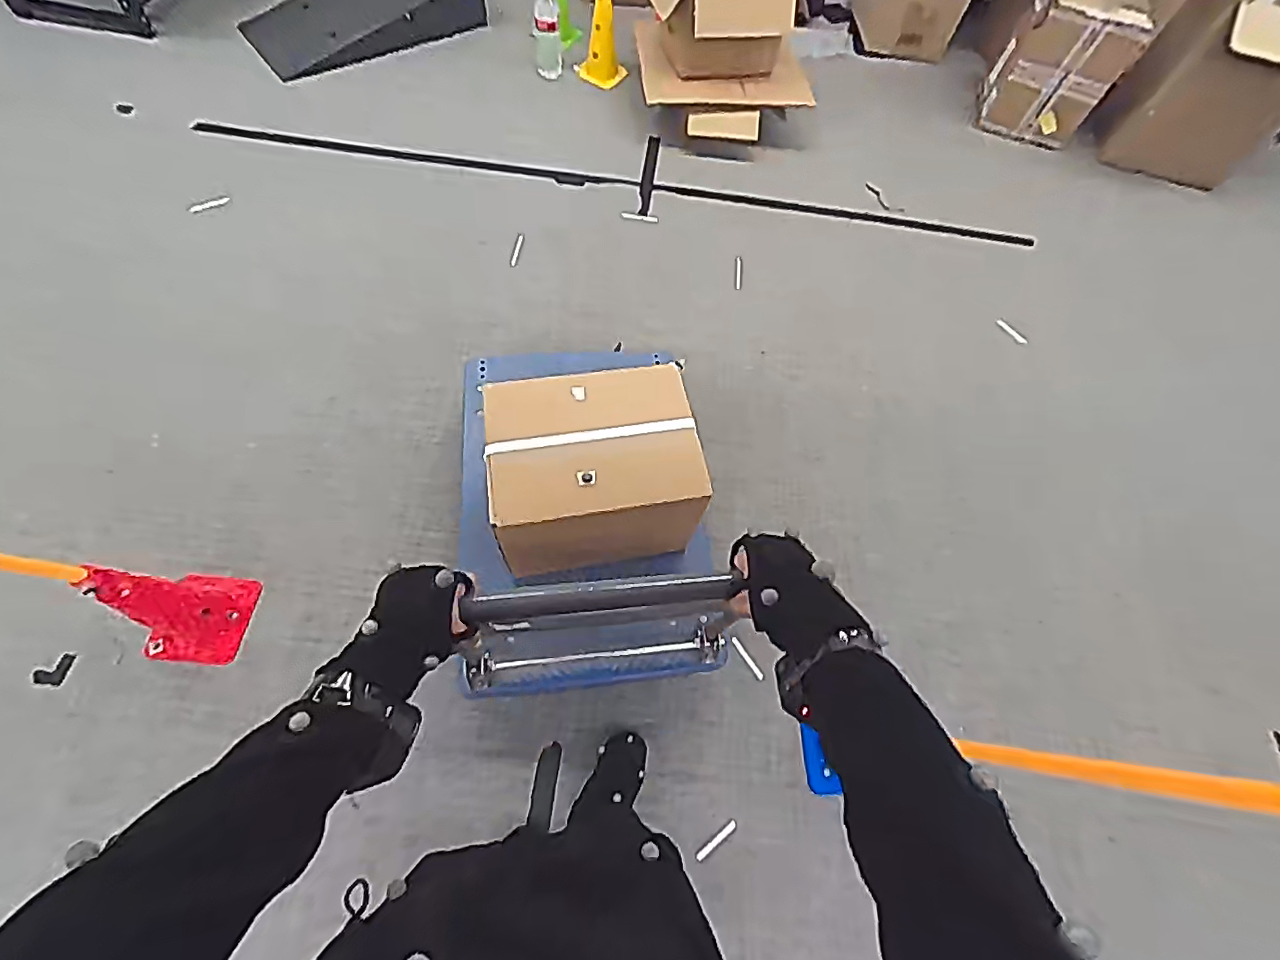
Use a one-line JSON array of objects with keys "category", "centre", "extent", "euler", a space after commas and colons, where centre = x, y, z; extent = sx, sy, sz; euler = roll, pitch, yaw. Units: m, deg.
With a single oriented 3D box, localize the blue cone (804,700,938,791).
[{"category": "blue cone", "centre": [0.505, 0.548, 1.133], "extent": [0.193, 0.380, 0.192], "euler": [4, 62, -4]}]
